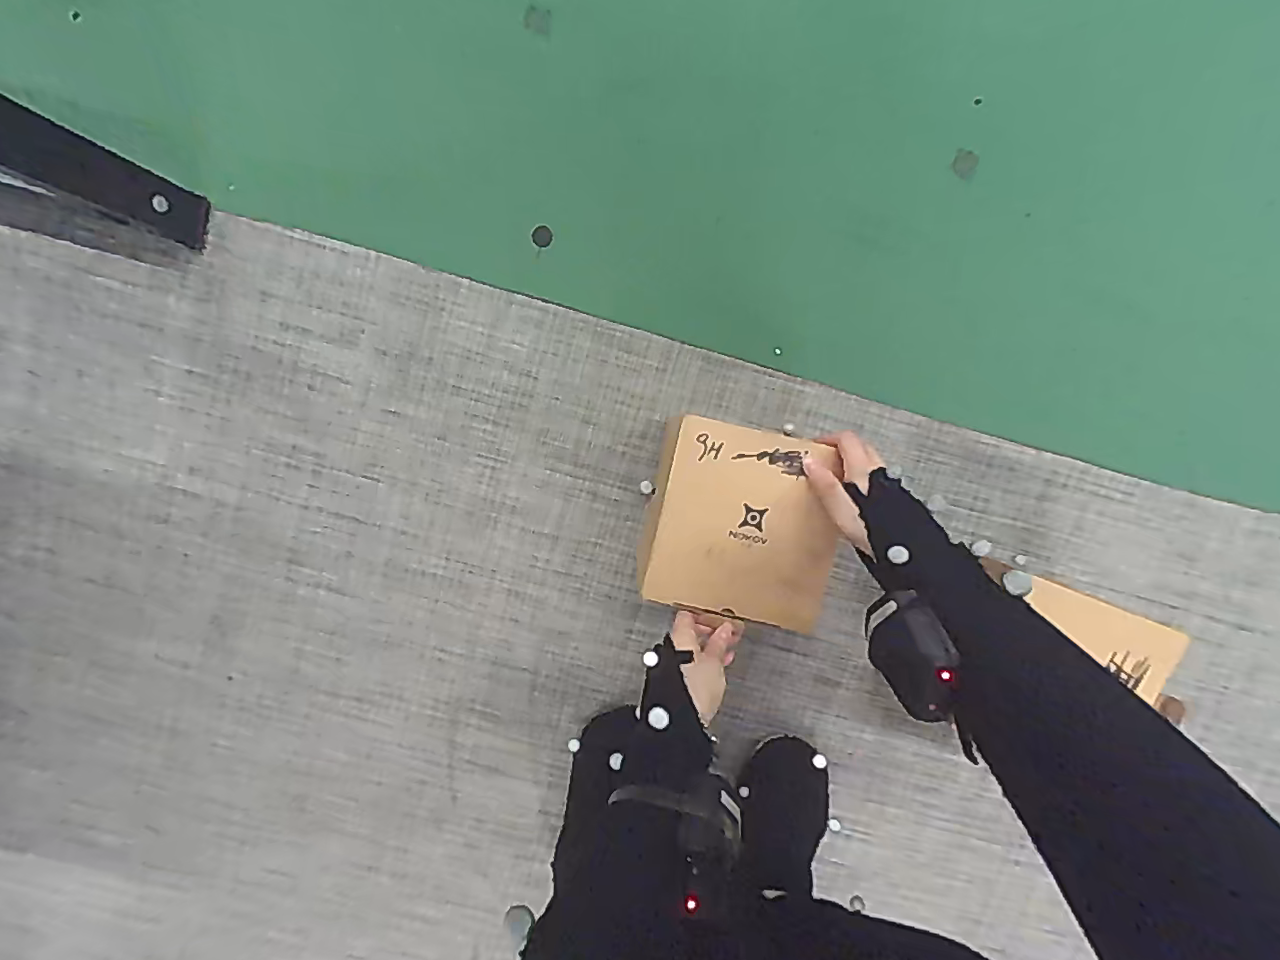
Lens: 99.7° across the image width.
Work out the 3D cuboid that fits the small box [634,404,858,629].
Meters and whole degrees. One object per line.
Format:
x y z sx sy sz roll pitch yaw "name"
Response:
0.093 0.026 0.559 0.168 0.176 0.179 13 97 -2 "small box"
